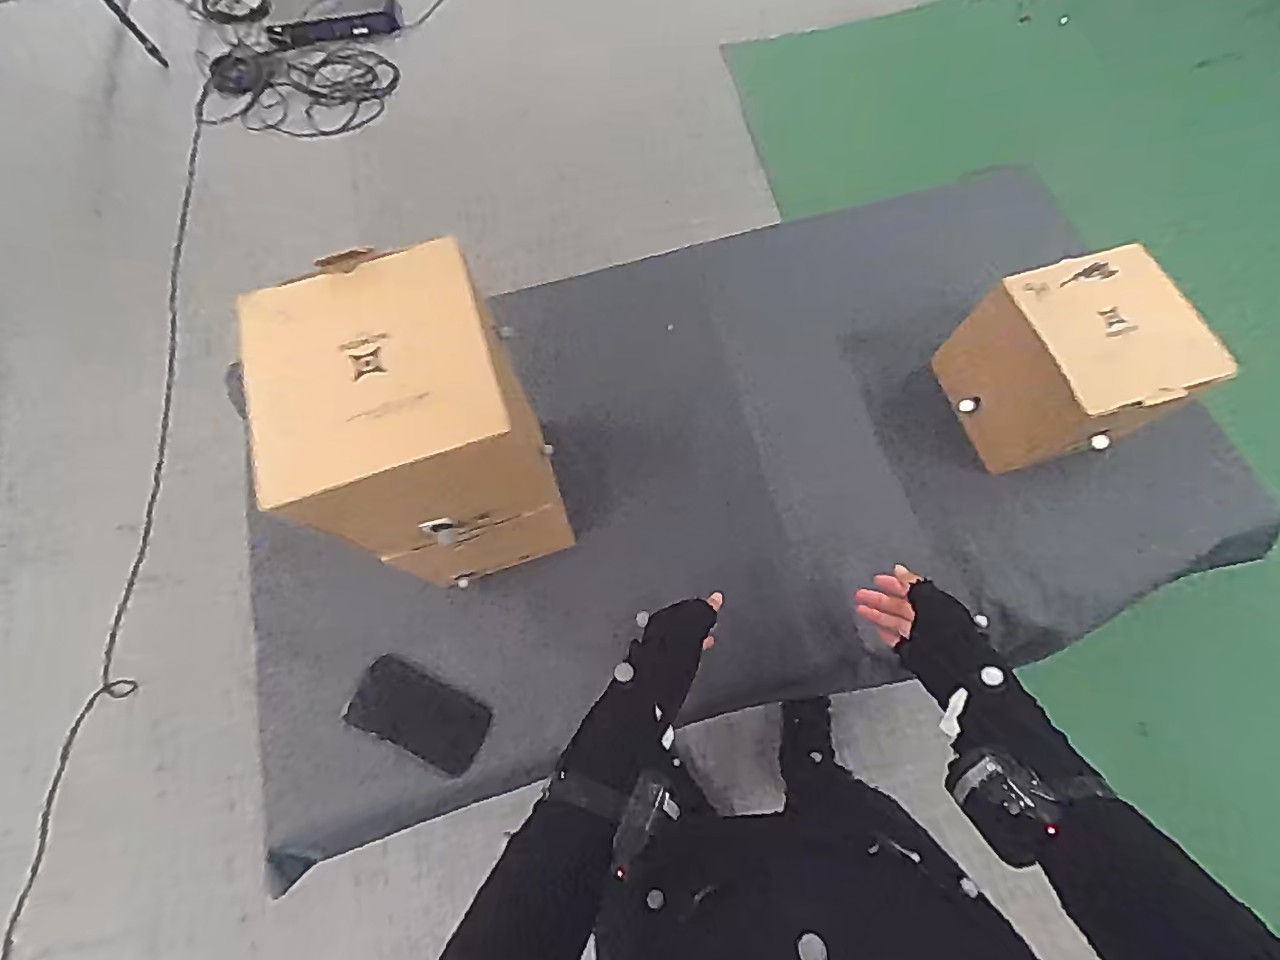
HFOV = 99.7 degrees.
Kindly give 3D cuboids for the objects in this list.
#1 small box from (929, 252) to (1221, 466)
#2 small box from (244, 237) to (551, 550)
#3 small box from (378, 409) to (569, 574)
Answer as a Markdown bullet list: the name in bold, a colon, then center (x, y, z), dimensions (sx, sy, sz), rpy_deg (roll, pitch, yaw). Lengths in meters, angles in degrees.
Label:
- **small box**: center (0.487, -0.128, 0.641), dimensions (0.168, 0.176, 0.179), rpy_deg (-15, 71, -4)
- **small box**: center (-0.185, -0.059, 0.454), dimensions (0.168, 0.176, 0.179), rpy_deg (-19, 73, -5)
- **small box**: center (-0.186, -0.004, 0.606), dimensions (0.168, 0.176, 0.179), rpy_deg (-18, 70, -6)
